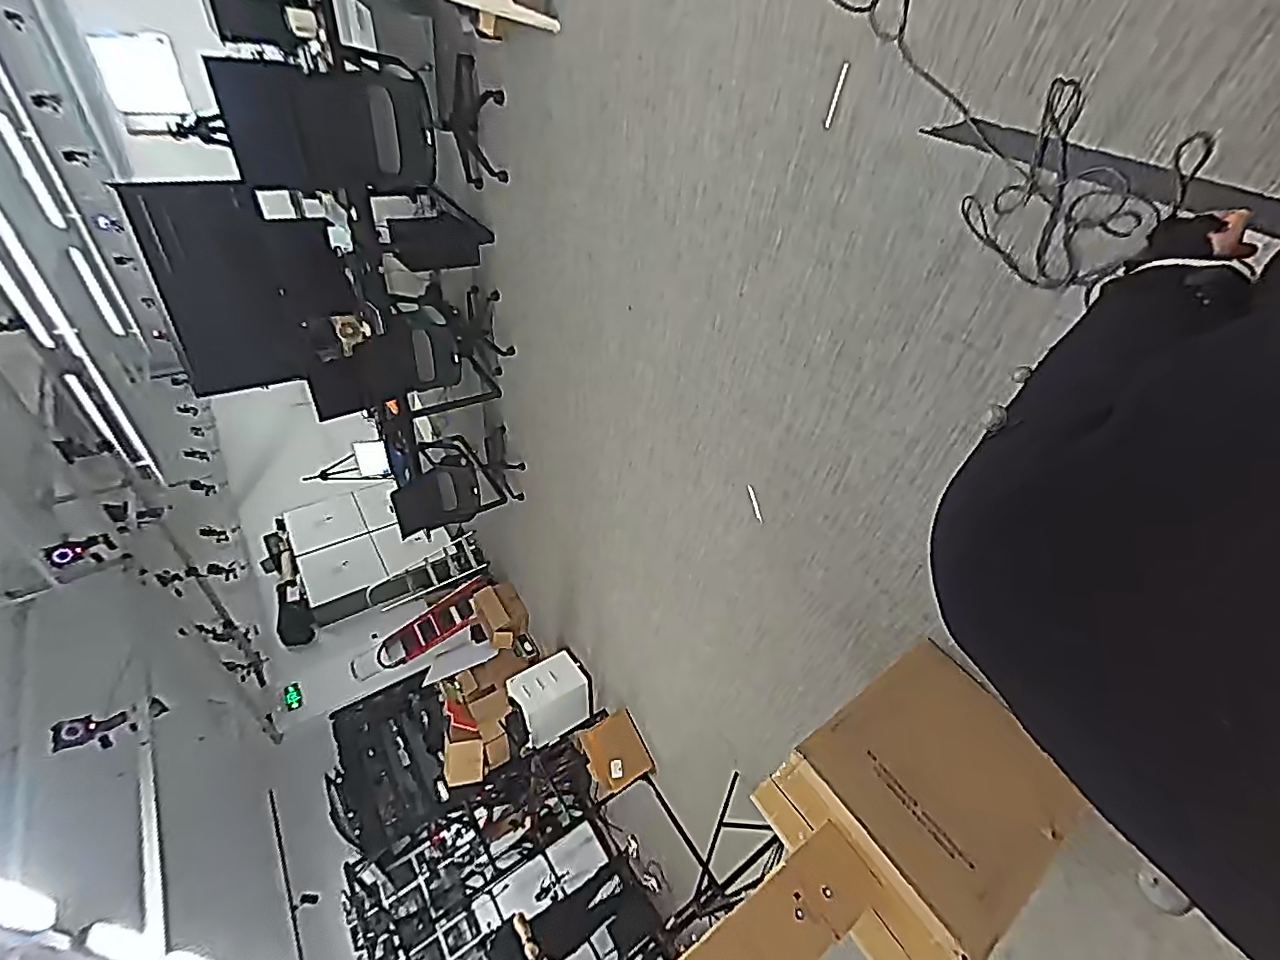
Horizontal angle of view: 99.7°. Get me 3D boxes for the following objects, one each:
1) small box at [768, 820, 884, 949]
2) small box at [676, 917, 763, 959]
[{"bbox_3d":[0.449,0.976,1.310,0.179,0.176,0.168,48,144,34],"label":"small box"},{"bbox_3d":[0.177,1.080,1.154,0.179,0.176,0.168,48,144,34],"label":"small box"}]
